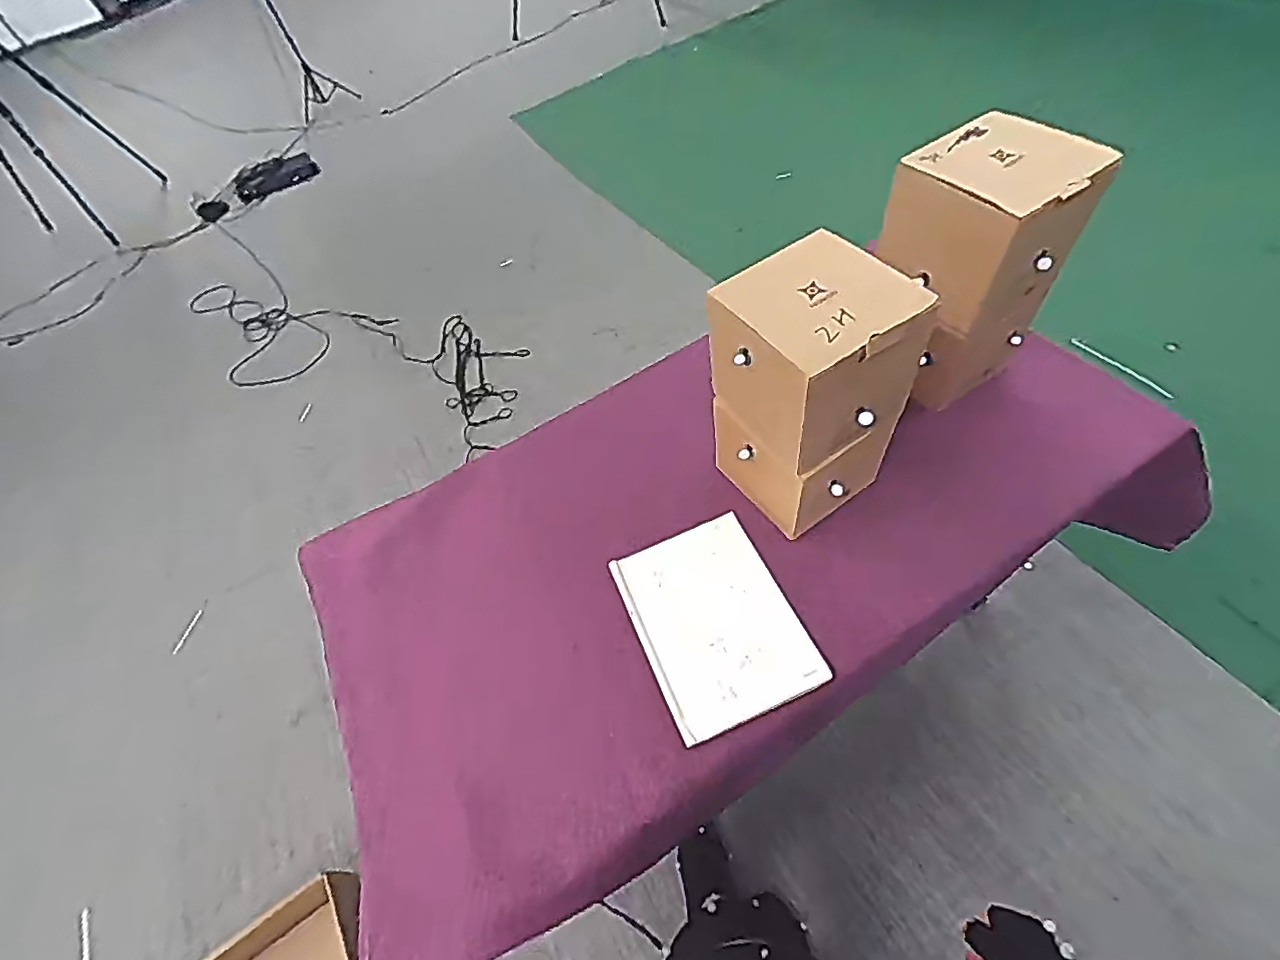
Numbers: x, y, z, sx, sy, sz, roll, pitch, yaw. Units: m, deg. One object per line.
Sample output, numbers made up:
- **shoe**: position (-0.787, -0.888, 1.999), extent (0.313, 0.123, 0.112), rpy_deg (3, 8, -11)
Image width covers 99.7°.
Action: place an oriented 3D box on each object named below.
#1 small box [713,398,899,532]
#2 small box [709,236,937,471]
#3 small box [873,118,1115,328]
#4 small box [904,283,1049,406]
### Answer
- **small box**: position (0.224, -0.048, 0.766), extent (0.168, 0.176, 0.179), rpy_deg (-33, 57, -11)
- **small box**: position (0.197, -0.144, 0.634), extent (0.168, 0.176, 0.179), rpy_deg (-31, 57, -9)
- **small box**: position (0.439, -0.326, 0.708), extent (0.168, 0.176, 0.179), rpy_deg (-30, 58, -11)
- **small box**: position (0.469, -0.240, 0.844), extent (0.168, 0.176, 0.179), rpy_deg (-30, 56, -10)
